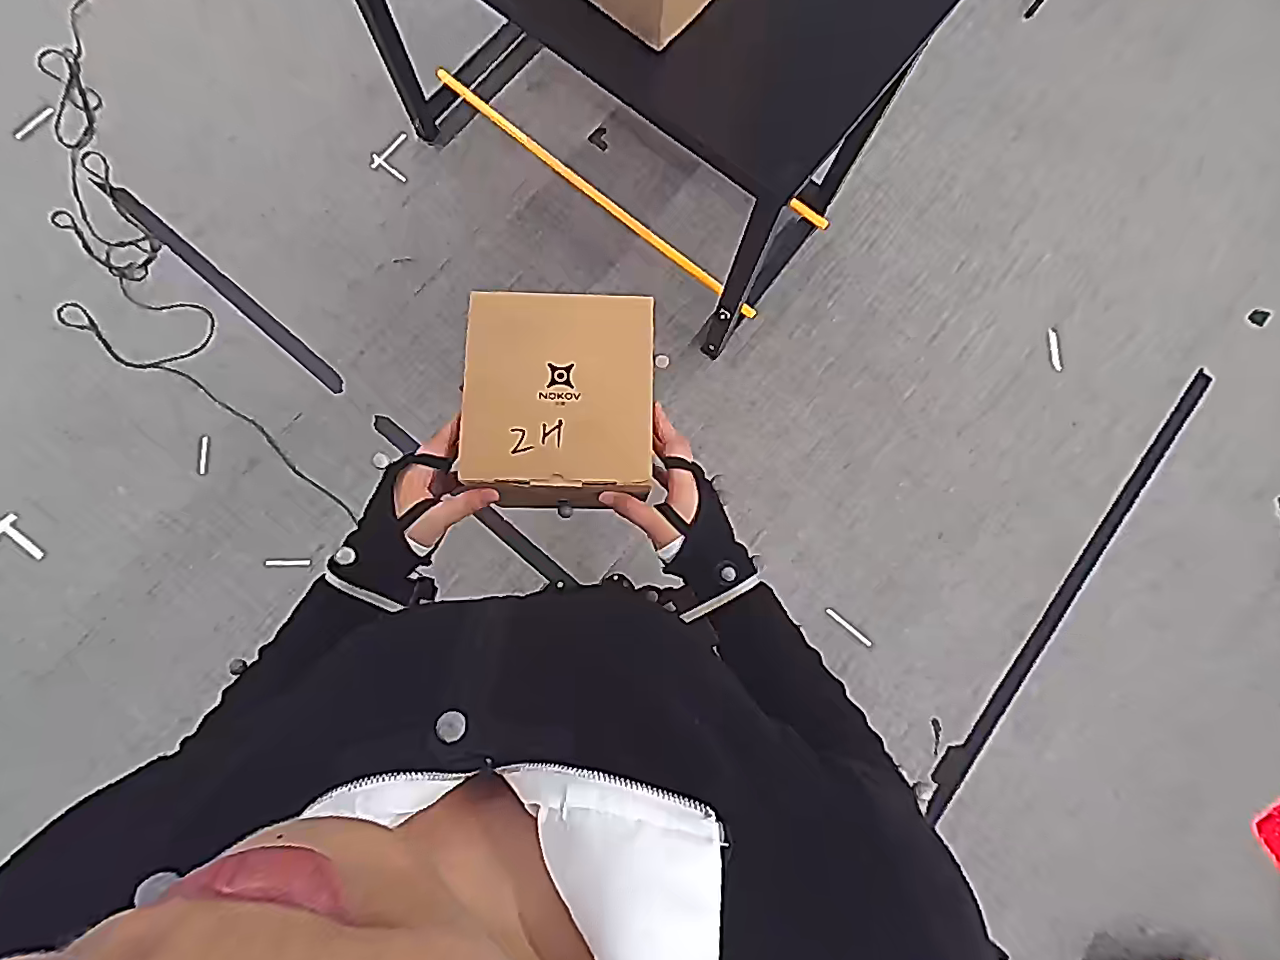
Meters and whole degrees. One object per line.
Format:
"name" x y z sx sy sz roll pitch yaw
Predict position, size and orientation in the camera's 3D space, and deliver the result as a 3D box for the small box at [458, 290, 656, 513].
"small box" -0.073 -0.066 0.545 0.168 0.176 0.179 1 79 -2
